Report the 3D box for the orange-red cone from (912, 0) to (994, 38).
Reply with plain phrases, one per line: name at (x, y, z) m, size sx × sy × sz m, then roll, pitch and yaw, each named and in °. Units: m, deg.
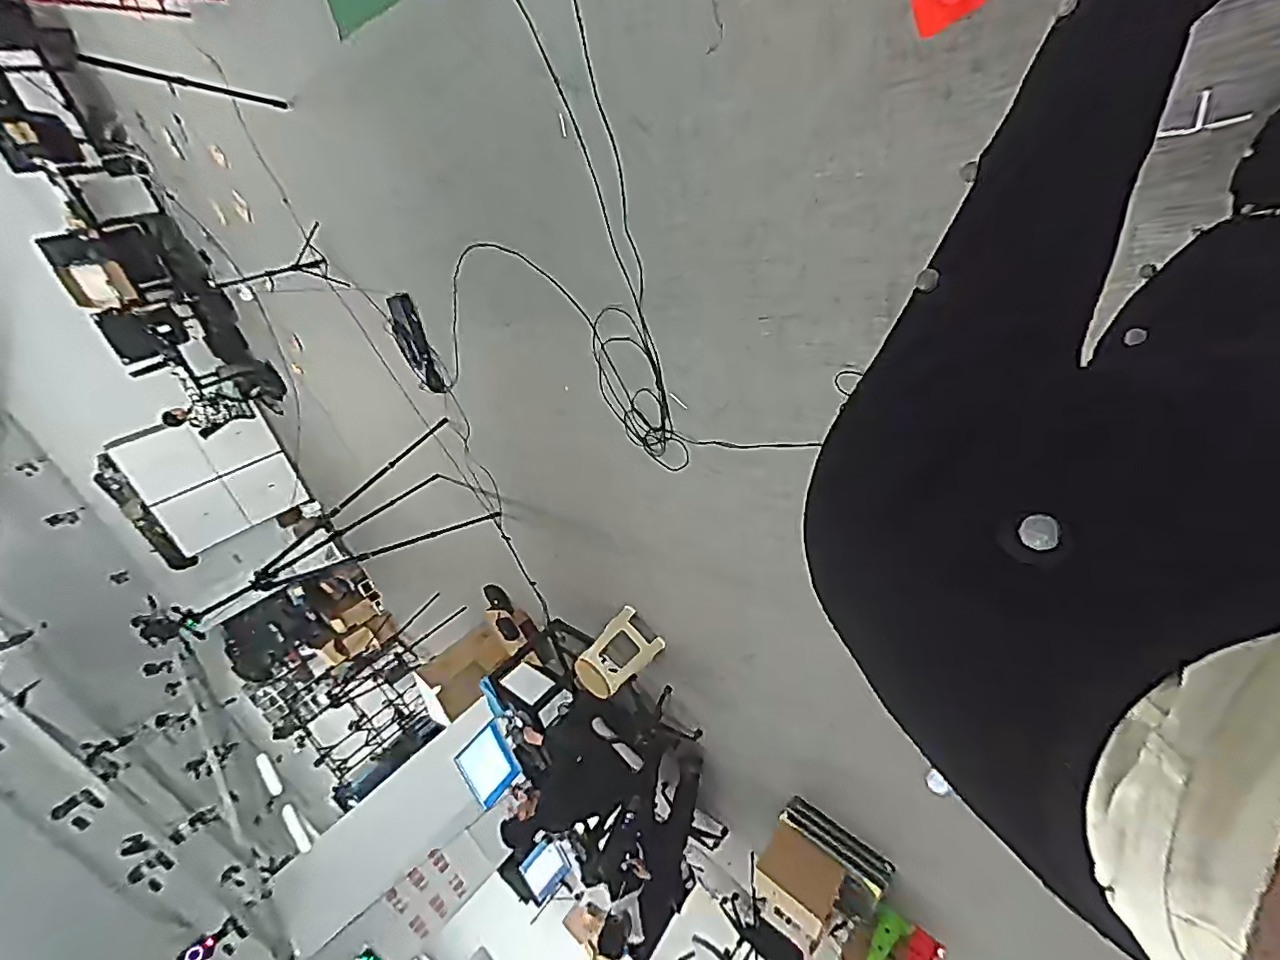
orange-red cone at (0.537, -0.975, 1.000) m, size 0.199 × 0.360 × 0.198 m, roll -2°, pitch 116°, yaw 51°
